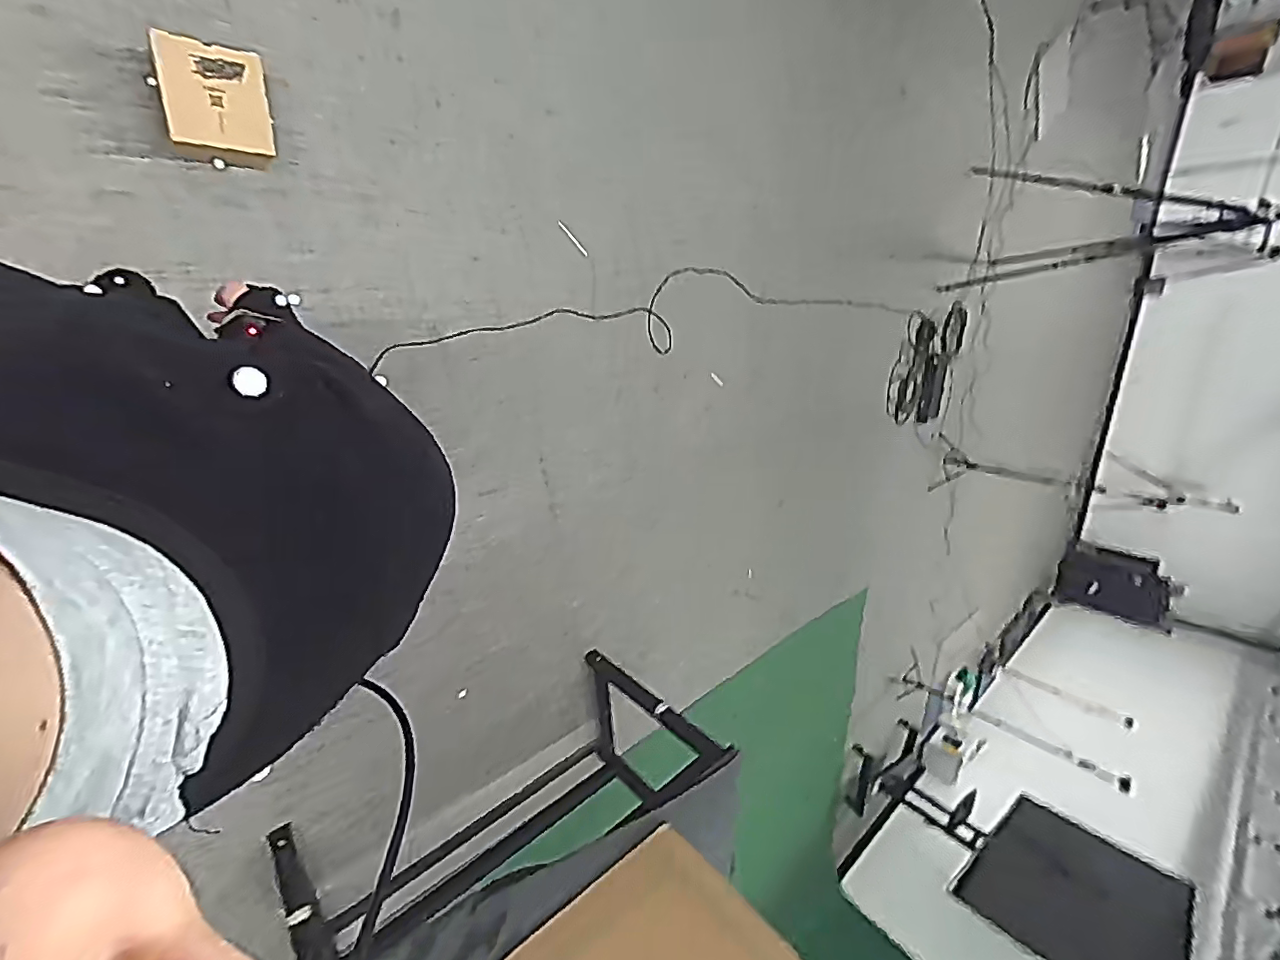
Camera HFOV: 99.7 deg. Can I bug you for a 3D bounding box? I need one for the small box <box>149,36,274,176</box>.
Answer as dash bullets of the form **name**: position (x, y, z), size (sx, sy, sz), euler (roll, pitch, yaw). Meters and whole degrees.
- **small box**: position (-0.849, -0.725, 1.072), size (0.168, 0.176, 0.179), euler (-14, 113, -38)
